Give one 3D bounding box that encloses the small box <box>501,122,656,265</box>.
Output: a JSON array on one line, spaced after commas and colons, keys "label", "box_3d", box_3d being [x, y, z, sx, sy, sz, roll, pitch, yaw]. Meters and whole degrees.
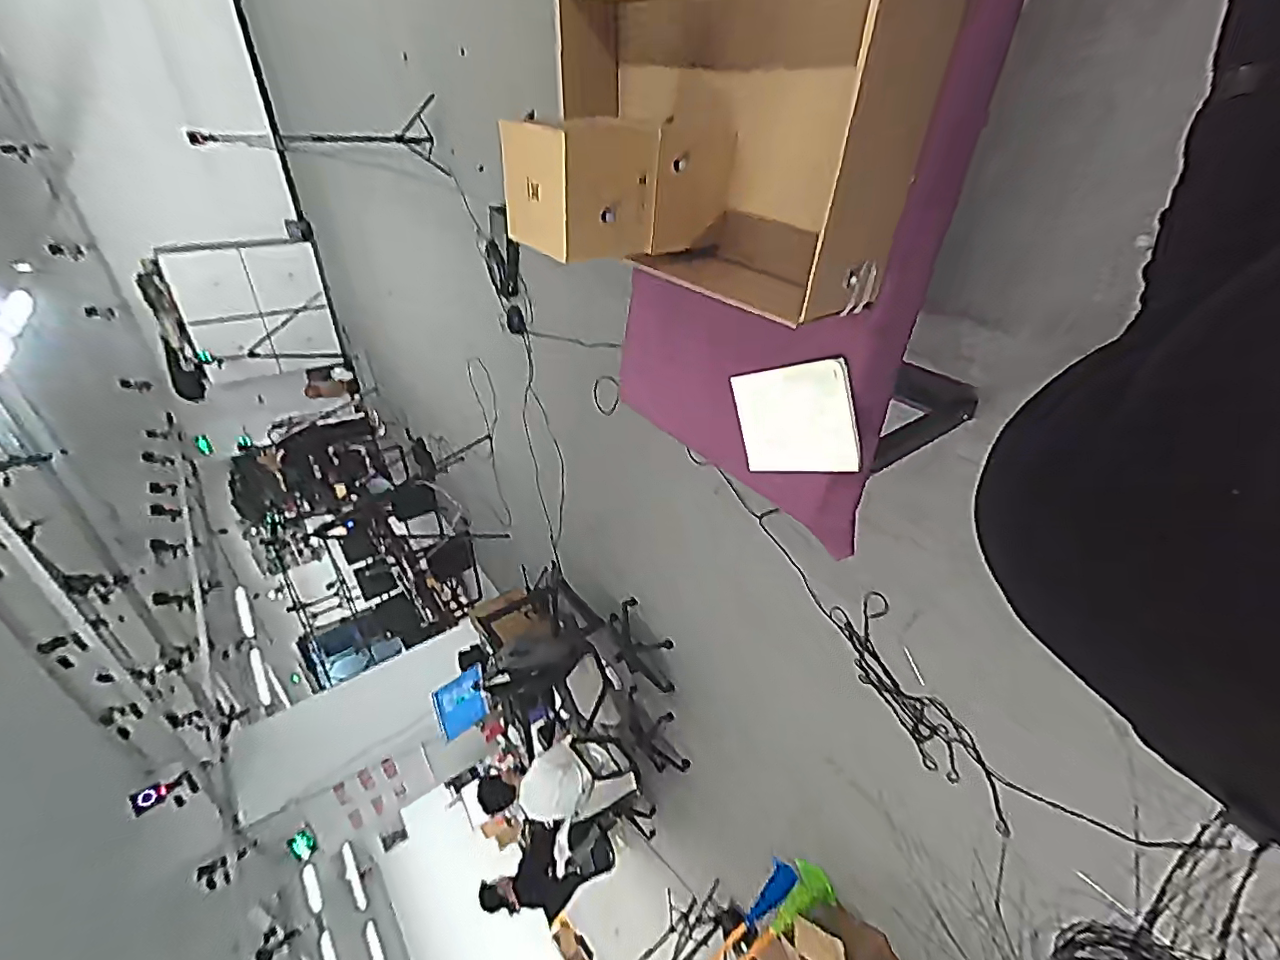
[{"label": "small box", "box_3d": [-0.092, -0.449, 0.836, 0.179, 0.176, 0.168, 38, 138, 37]}]
